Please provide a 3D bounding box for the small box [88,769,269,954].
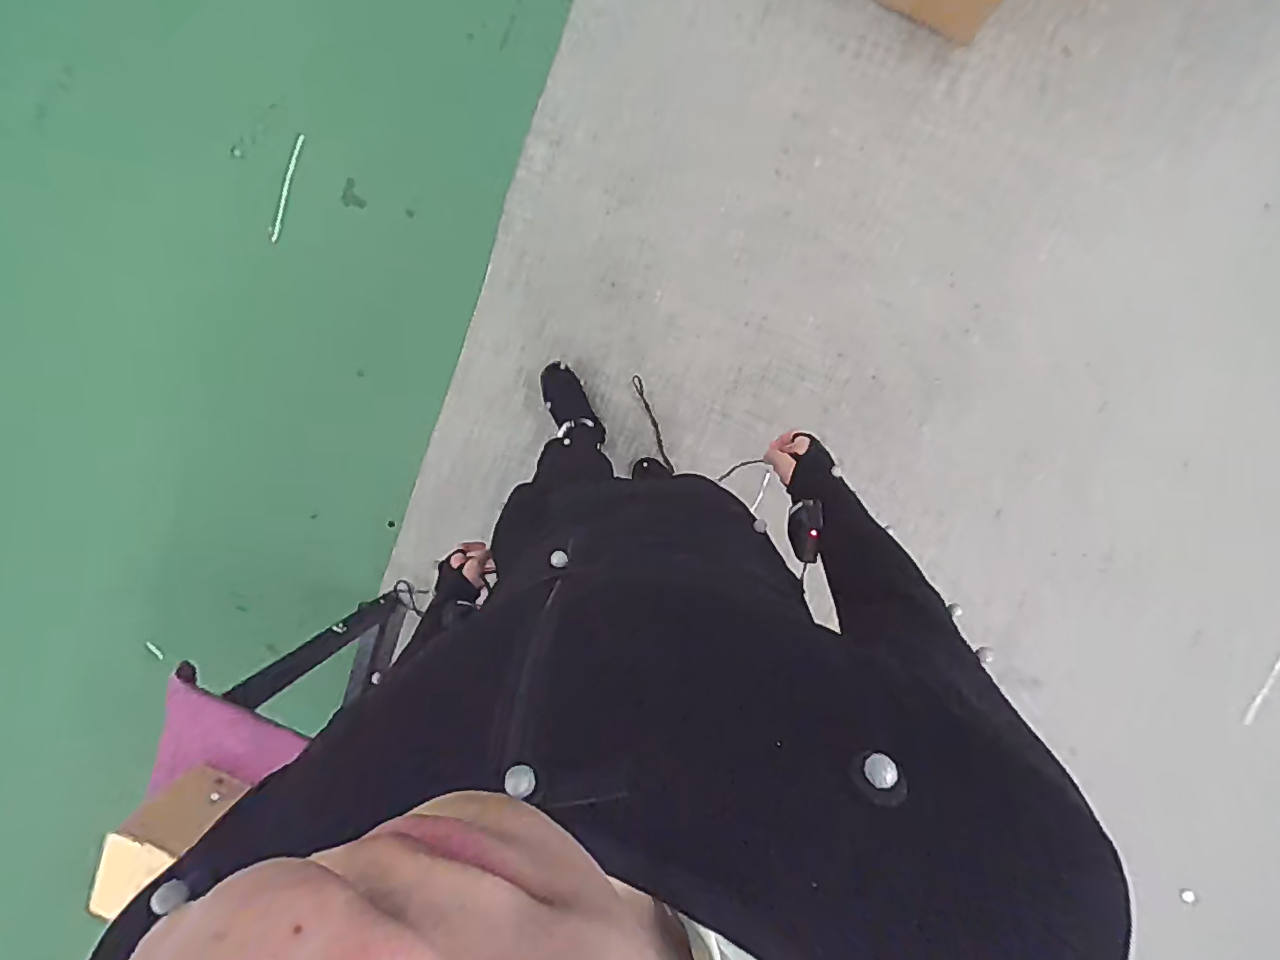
[{"bbox_3d":[-0.811,0.670,0.968,0.168,0.176,0.179,24,100,1],"label":"small box"}]
